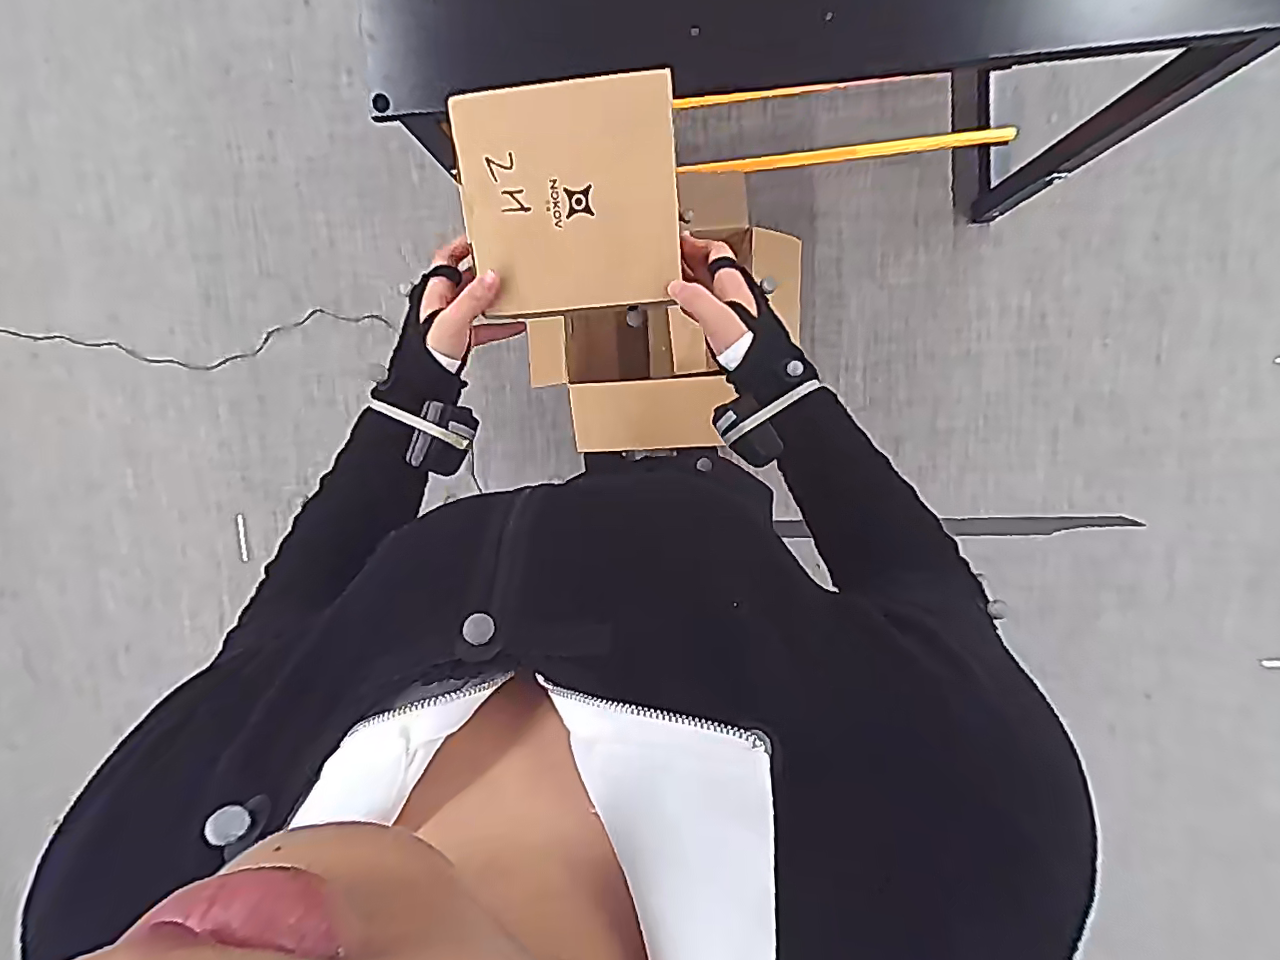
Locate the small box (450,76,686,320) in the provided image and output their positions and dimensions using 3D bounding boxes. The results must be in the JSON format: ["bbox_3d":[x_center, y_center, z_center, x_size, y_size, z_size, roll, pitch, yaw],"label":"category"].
[{"bbox_3d":[-0.051,-0.245,0.512,0.179,0.176,0.168,-4,106,5],"label":"small box"}]
